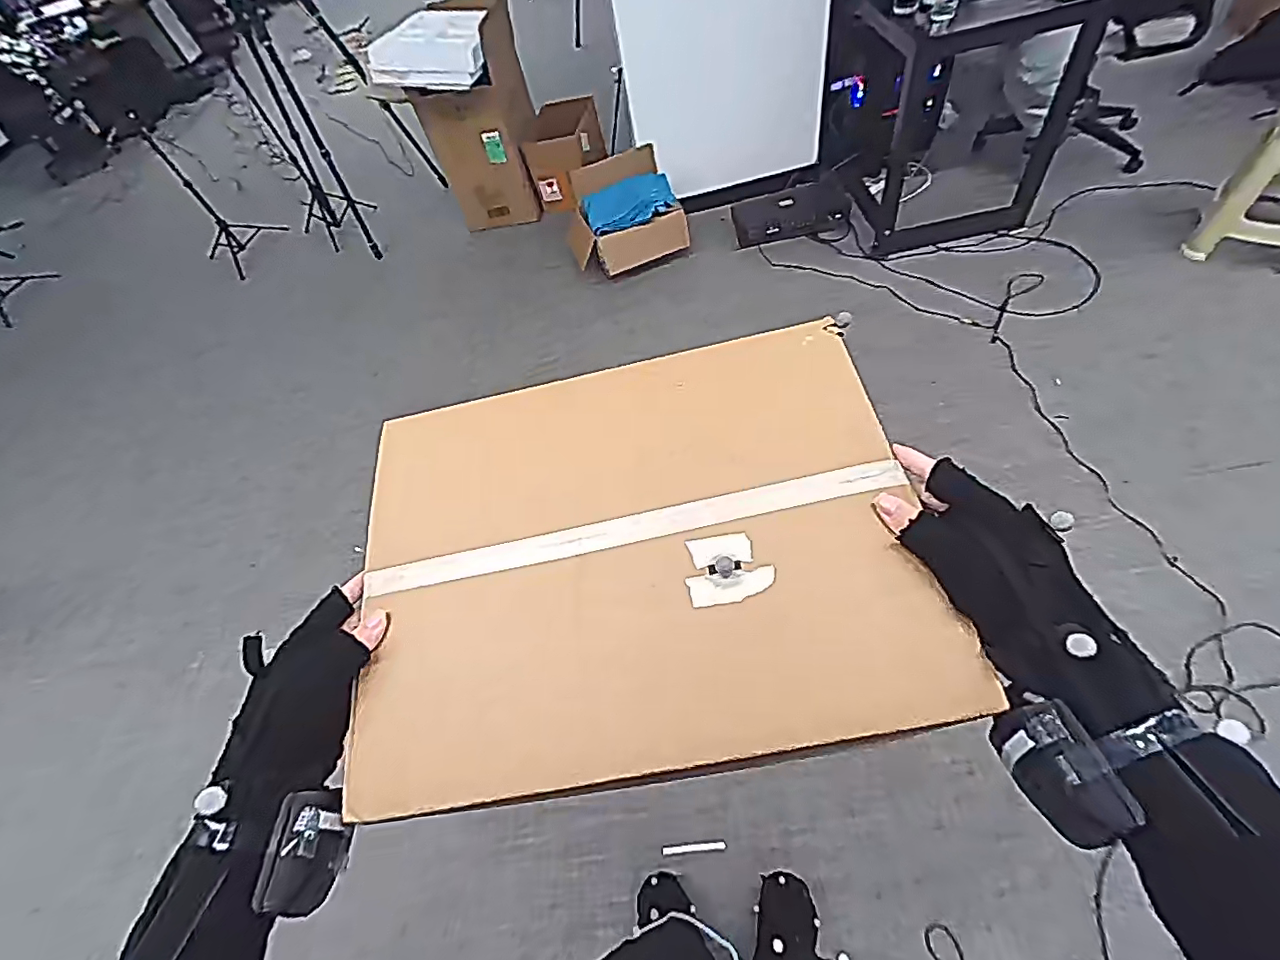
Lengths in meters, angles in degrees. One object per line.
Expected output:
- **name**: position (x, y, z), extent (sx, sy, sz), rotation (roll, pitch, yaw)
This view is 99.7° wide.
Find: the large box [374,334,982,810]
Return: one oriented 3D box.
- **large box**: position (0.017, 0.113, 0.542), extent (0.408, 0.320, 0.320), rotation (-12, 60, 4)
